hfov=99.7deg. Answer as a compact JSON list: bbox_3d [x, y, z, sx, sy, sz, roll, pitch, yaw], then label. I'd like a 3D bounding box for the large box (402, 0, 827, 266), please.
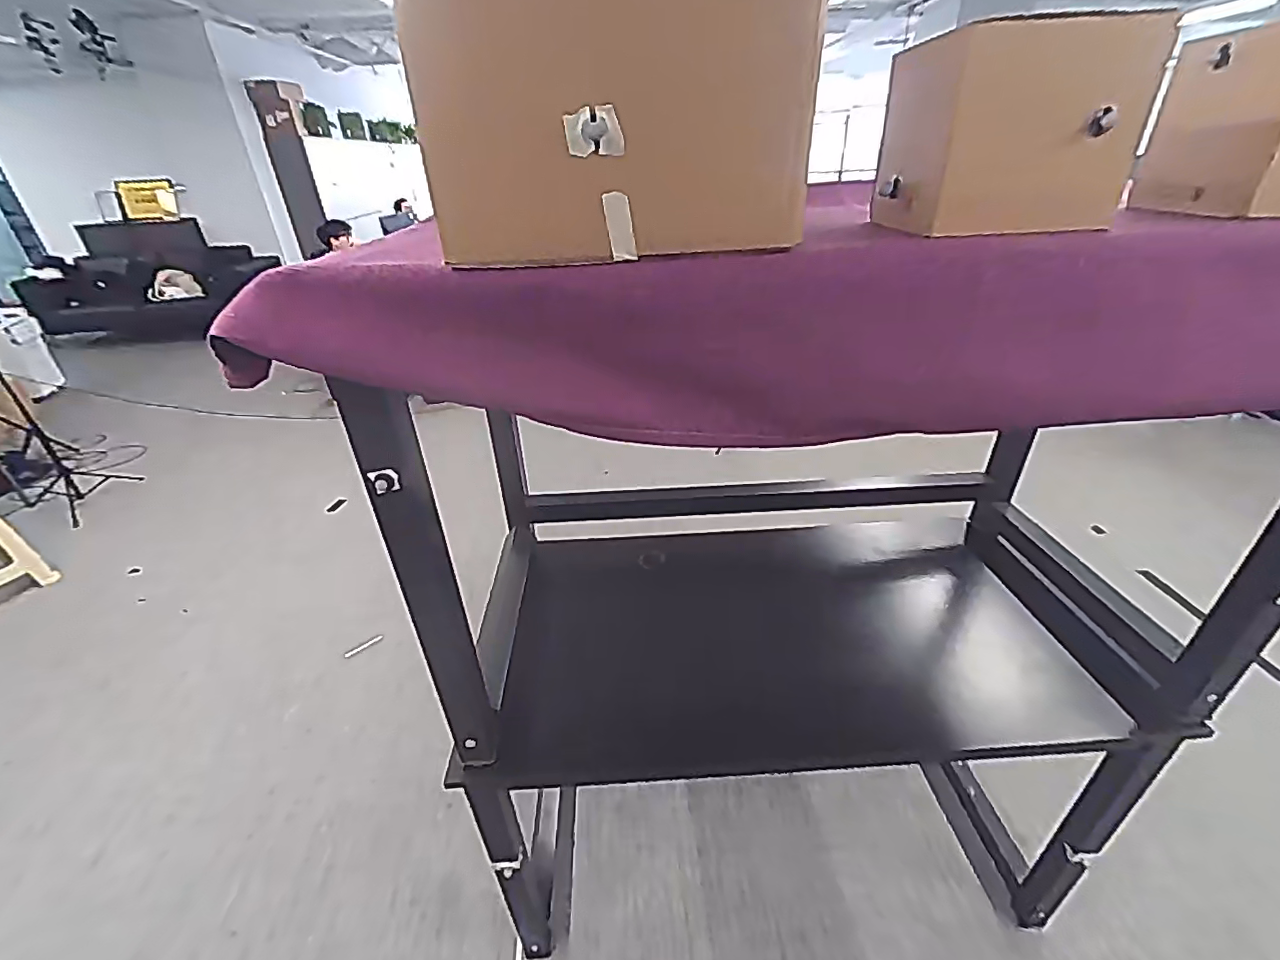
[{"bbox_3d":[-0.034,-0.416,0.553,0.320,0.320,0.408,-4,29,-3],"label":"large box"}]

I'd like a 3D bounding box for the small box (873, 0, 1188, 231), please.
[{"bbox_3d":[0.361,-0.354,0.544,0.179,0.176,0.168,-3,29,1],"label":"small box"}]

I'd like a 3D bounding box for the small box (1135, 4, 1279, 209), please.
[{"bbox_3d":[0.682,-0.382,0.555,0.179,0.176,0.168,-1,30,3],"label":"small box"}]
